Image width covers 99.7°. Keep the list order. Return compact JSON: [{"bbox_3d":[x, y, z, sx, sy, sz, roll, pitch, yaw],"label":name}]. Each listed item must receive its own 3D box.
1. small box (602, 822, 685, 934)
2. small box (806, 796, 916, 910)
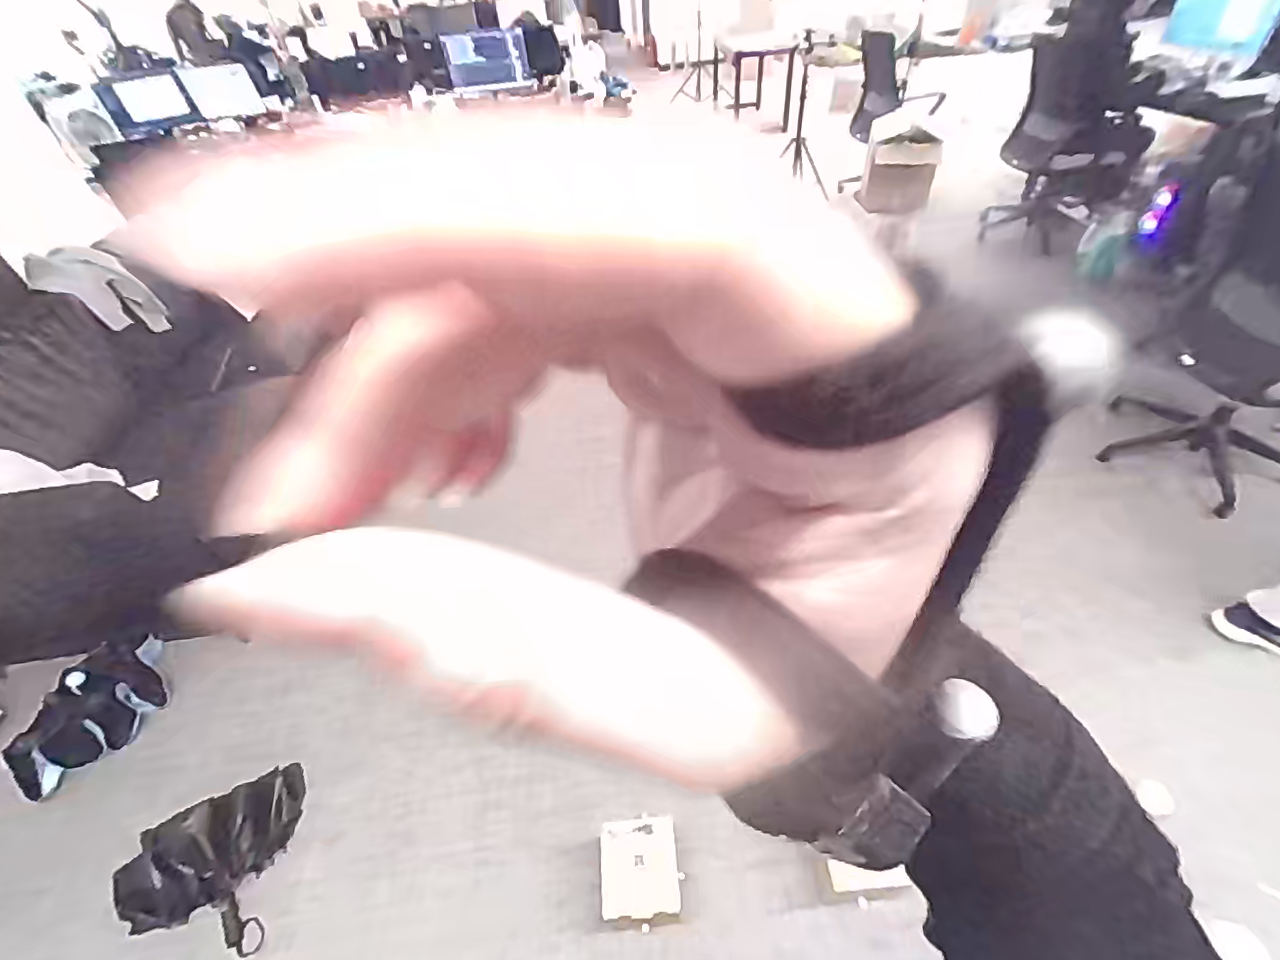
[{"bbox_3d":[0.008,0.895,1.211,0.168,0.176,0.179,-6,44,1],"label":"small box"},{"bbox_3d":[0.481,0.835,1.211,0.168,0.176,0.179,-7,45,1],"label":"small box"}]
